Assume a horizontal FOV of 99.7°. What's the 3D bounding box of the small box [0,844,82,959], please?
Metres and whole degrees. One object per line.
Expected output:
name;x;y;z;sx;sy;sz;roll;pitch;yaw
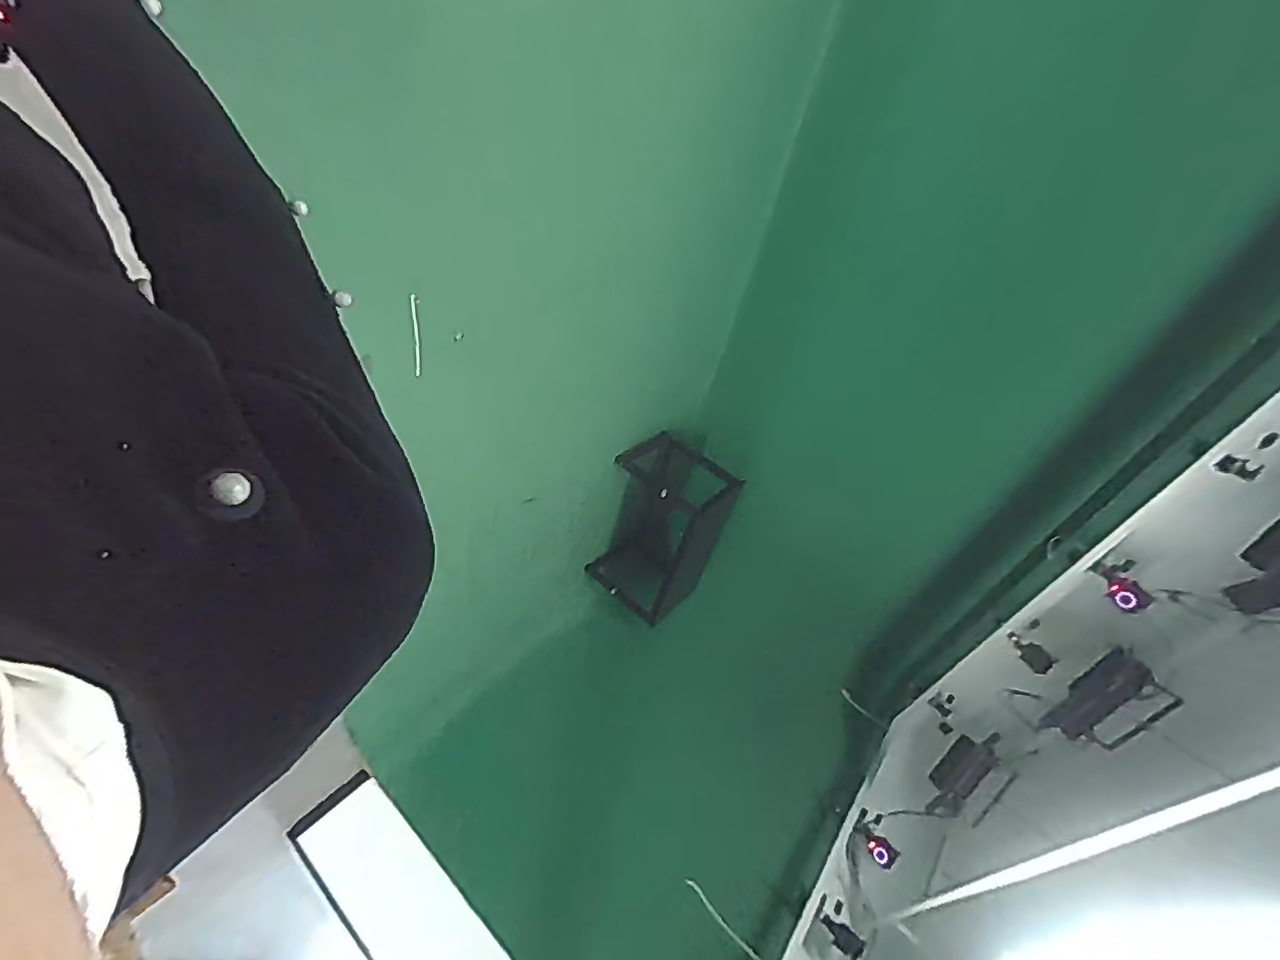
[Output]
small box;-1.546;1.052;1.328;0.179;0.176;0.168;-33;151;-43

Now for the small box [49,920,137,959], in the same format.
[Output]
small box;-1.483;1.340;1.447;0.179;0.176;0.168;-32;148;-46

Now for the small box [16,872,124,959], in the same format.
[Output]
small box;-1.606;1.250;1.507;0.179;0.176;0.168;-30;147;-46
